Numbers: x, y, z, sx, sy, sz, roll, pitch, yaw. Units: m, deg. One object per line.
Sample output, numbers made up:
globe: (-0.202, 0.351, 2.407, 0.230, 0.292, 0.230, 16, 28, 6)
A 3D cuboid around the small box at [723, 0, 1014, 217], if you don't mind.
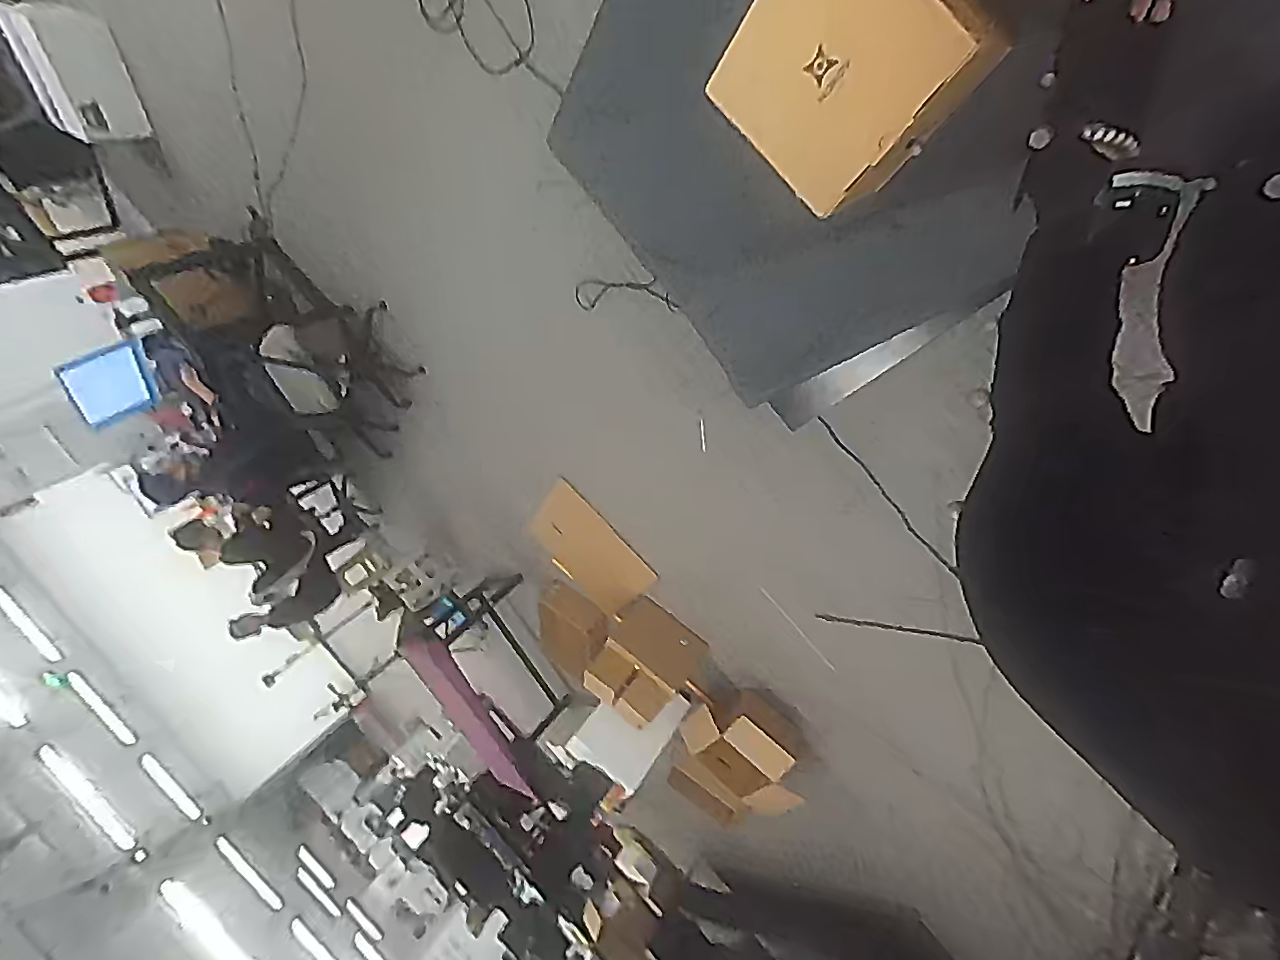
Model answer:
small box: (0.222, -0.396, 0.529, 0.179, 0.176, 0.168, 48, 141, 1)
